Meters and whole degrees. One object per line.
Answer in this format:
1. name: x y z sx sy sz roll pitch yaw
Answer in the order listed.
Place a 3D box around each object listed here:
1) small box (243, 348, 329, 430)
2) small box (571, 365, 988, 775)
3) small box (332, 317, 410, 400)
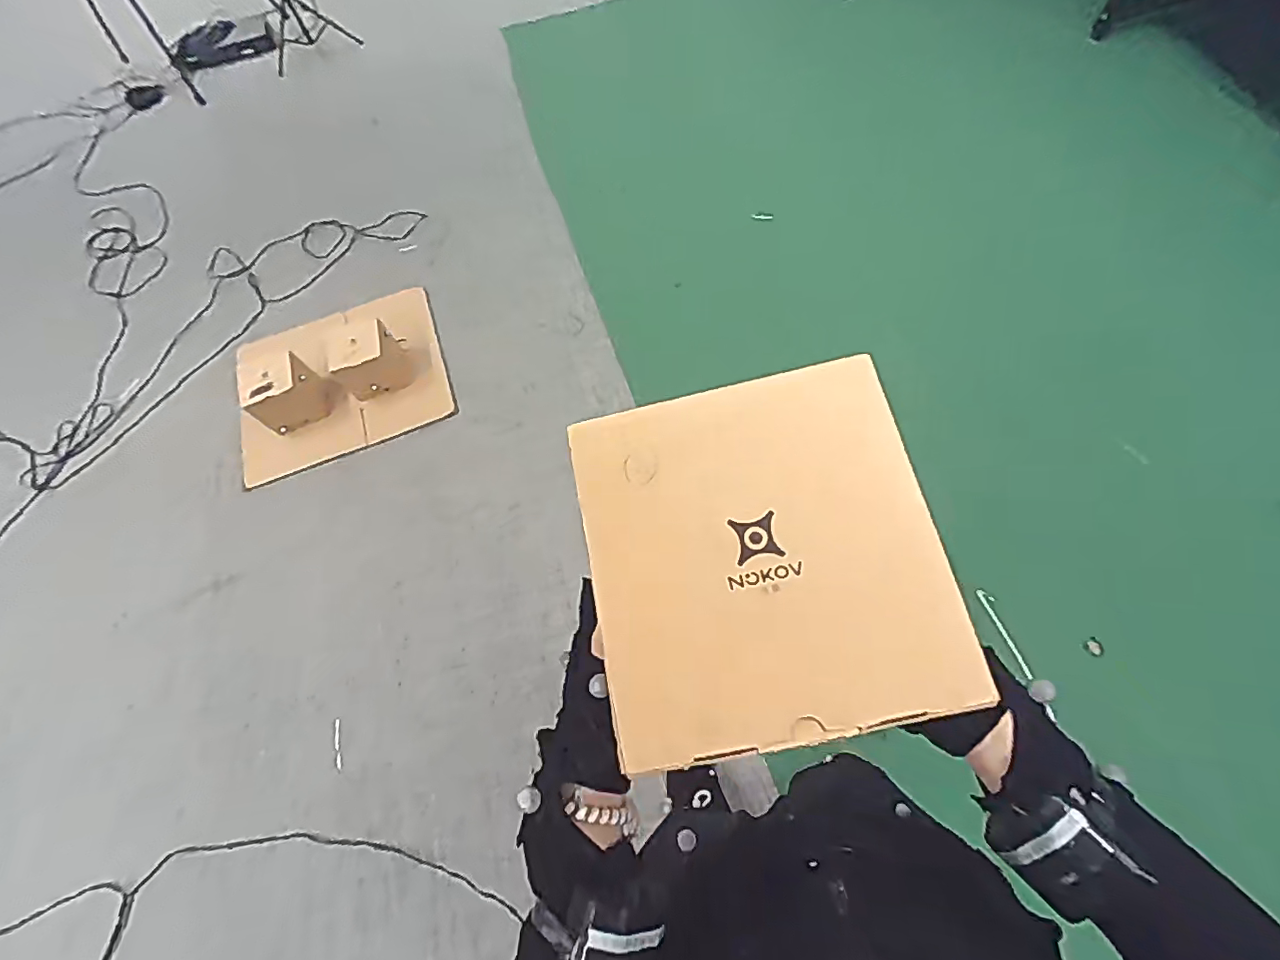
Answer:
1. small box: -1.127 -0.282 1.731 0.168 0.176 0.179 -23 64 -4
2. small box: 0.065 0.059 0.339 0.168 0.176 0.179 -13 72 3
3. small box: -0.872 -0.393 1.759 0.168 0.176 0.179 -17 65 -1
